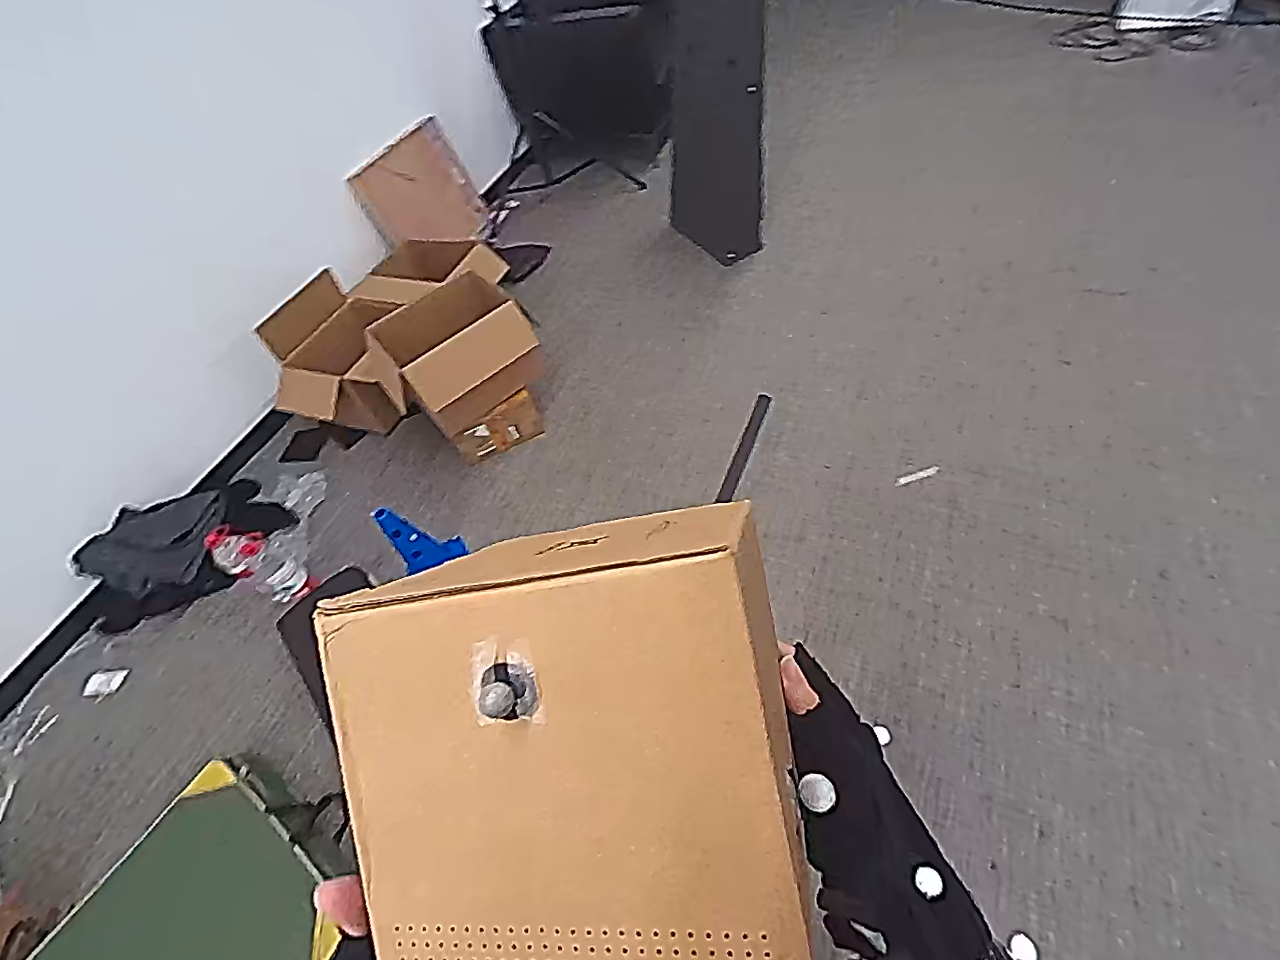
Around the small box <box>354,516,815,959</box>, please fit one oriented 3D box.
[{"bbox_3d":[-0.013,0.122,0.294,0.179,0.168,0.176,-10,91,15],"label":"small box"}]
